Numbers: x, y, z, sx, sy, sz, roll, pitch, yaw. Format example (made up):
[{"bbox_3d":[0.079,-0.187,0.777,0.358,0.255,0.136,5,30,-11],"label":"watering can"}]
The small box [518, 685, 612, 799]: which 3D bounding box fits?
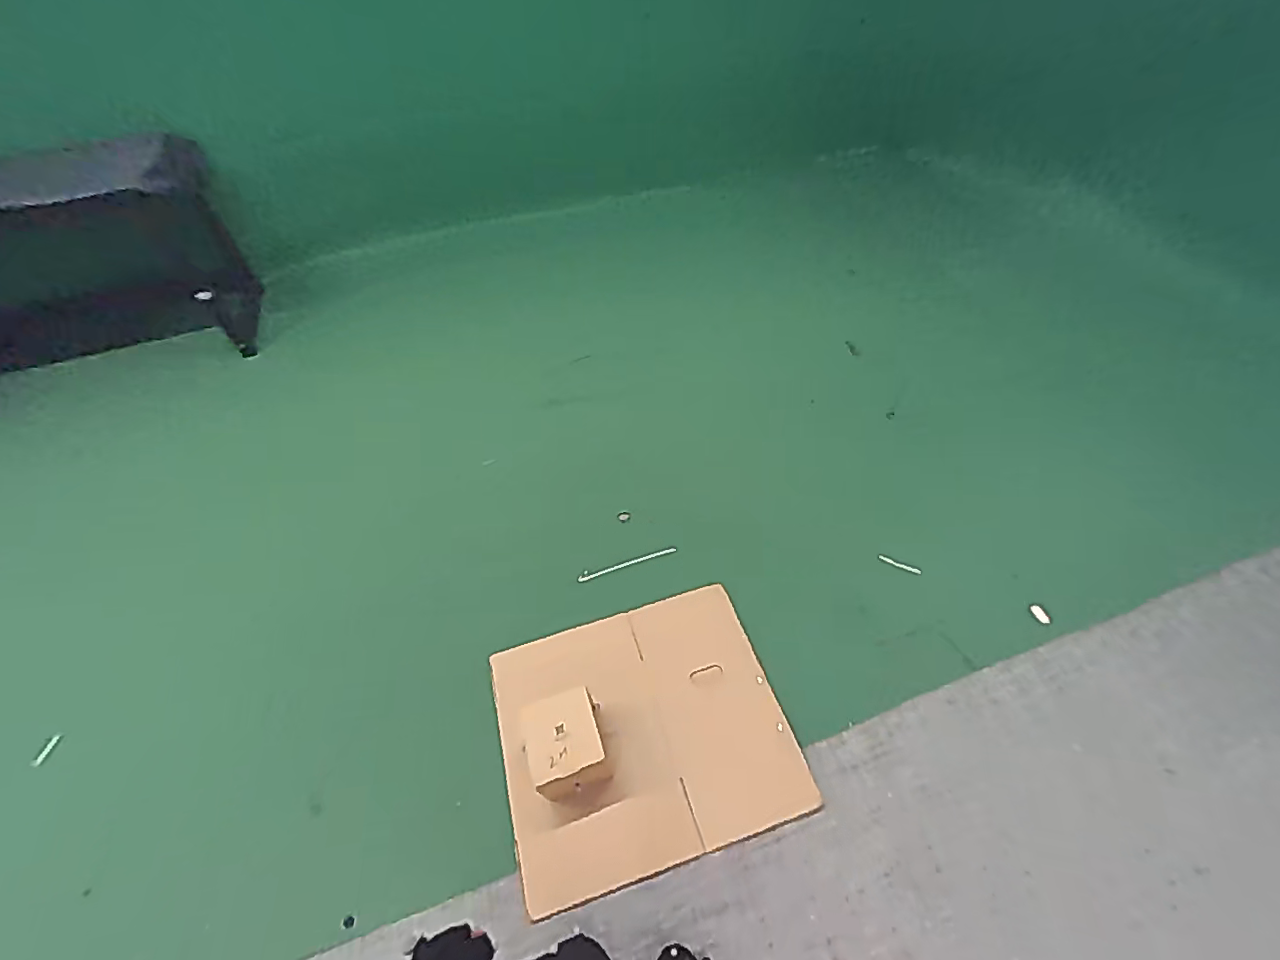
[{"bbox_3d":[-0.174,0.617,1.271,0.168,0.176,0.179,-18,52,-8],"label":"small box"}]
